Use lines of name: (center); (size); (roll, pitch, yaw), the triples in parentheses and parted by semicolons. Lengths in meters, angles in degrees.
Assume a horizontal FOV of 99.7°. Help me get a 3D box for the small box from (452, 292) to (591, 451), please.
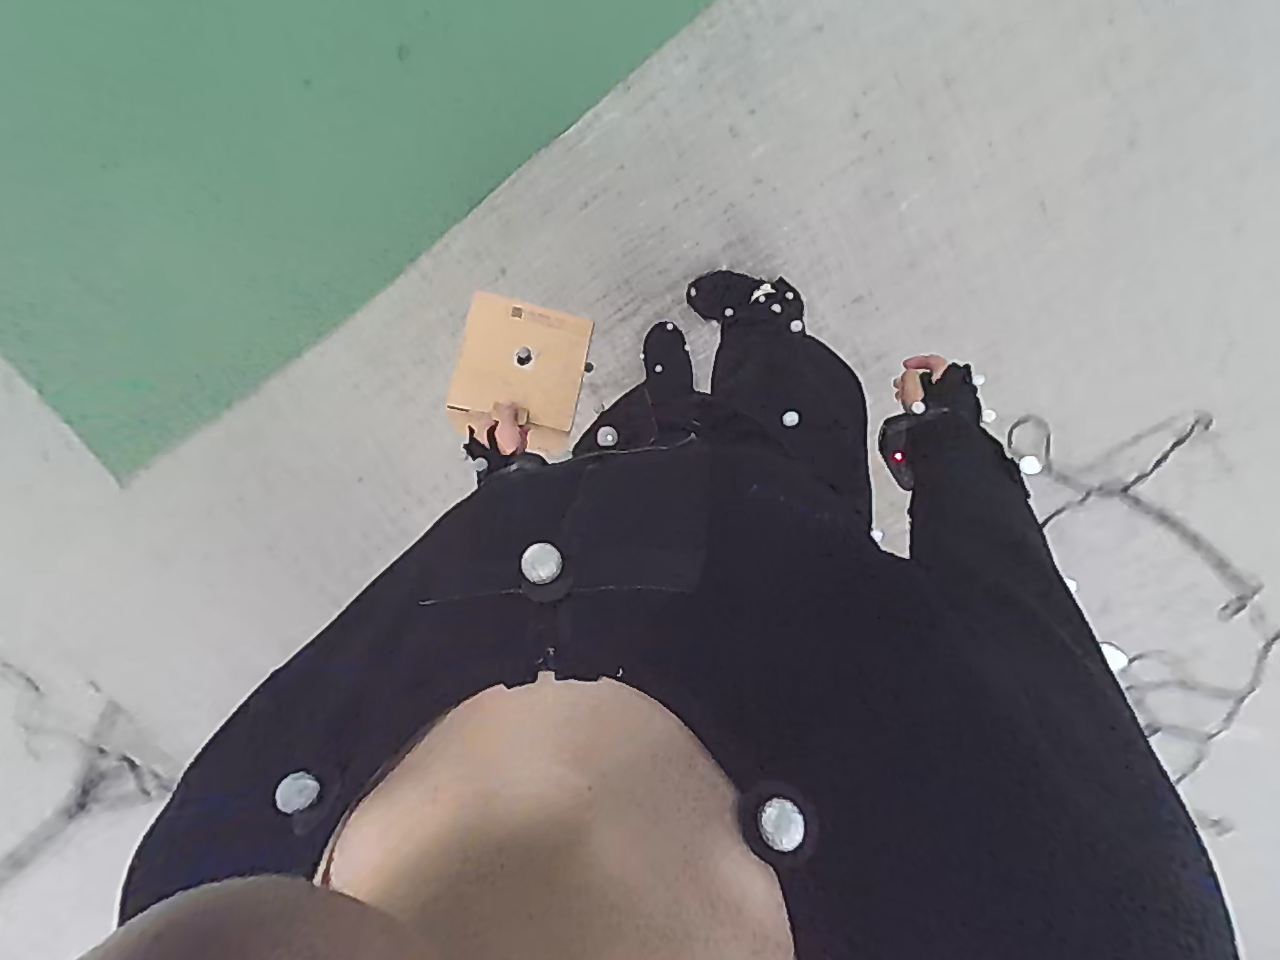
small box: (-0.173, -0.152, 0.800); (0.168, 0.179, 0.176); (12, 81, -12)
